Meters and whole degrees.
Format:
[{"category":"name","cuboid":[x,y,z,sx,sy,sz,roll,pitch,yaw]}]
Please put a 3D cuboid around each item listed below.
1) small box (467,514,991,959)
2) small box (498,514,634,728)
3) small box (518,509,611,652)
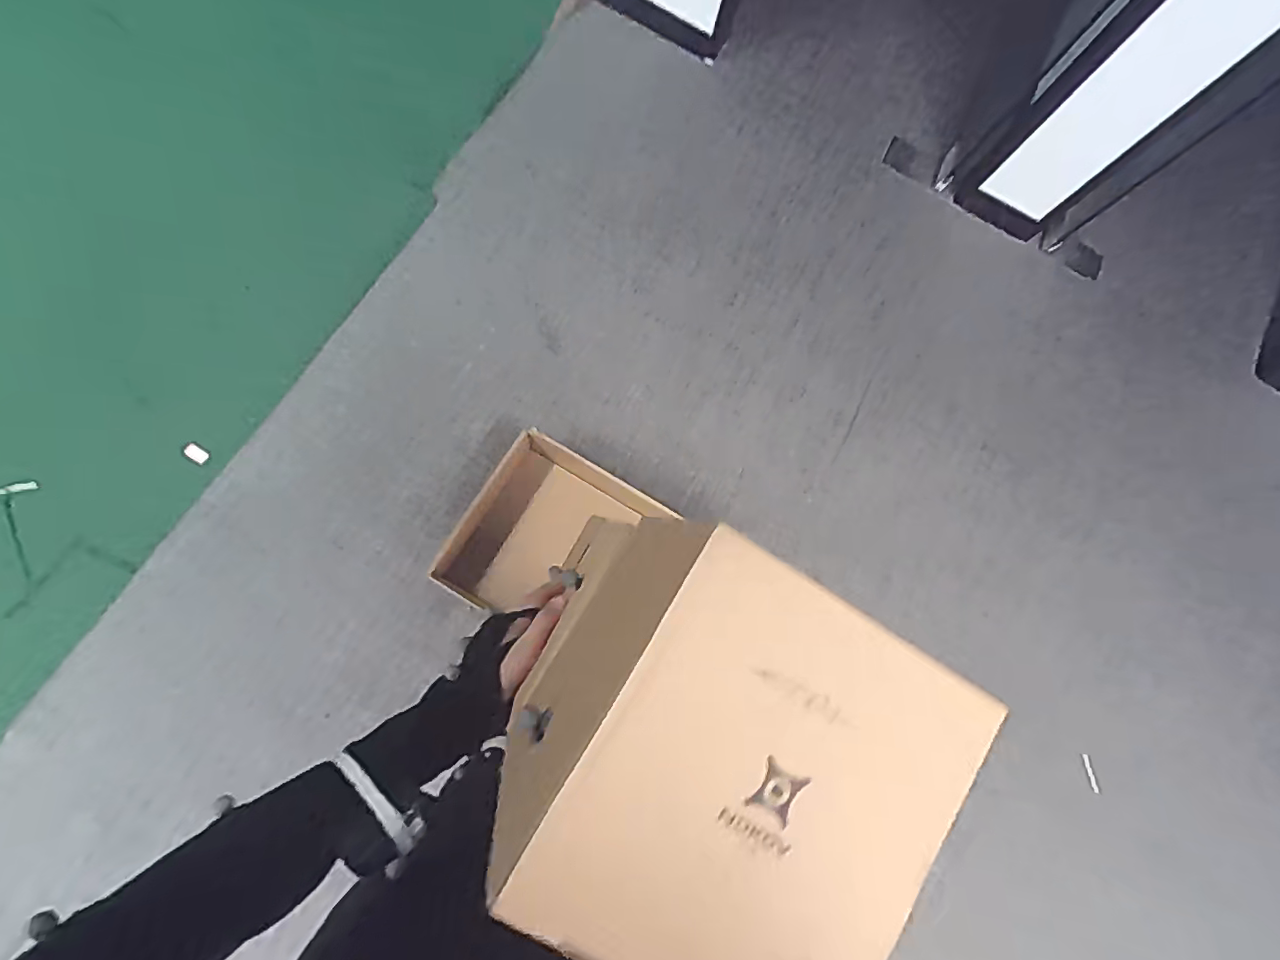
[{"category":"small box","cuboid":[0.033,0.134,0.301,0.168,0.176,0.179,34,82,-7]},{"category":"small box","cuboid":[0.004,0.143,0.460,0.179,0.176,0.168,31,83,-6]},{"category":"small box","cuboid":[-0.019,0.147,0.622,0.179,0.176,0.168,30,84,-6]}]
